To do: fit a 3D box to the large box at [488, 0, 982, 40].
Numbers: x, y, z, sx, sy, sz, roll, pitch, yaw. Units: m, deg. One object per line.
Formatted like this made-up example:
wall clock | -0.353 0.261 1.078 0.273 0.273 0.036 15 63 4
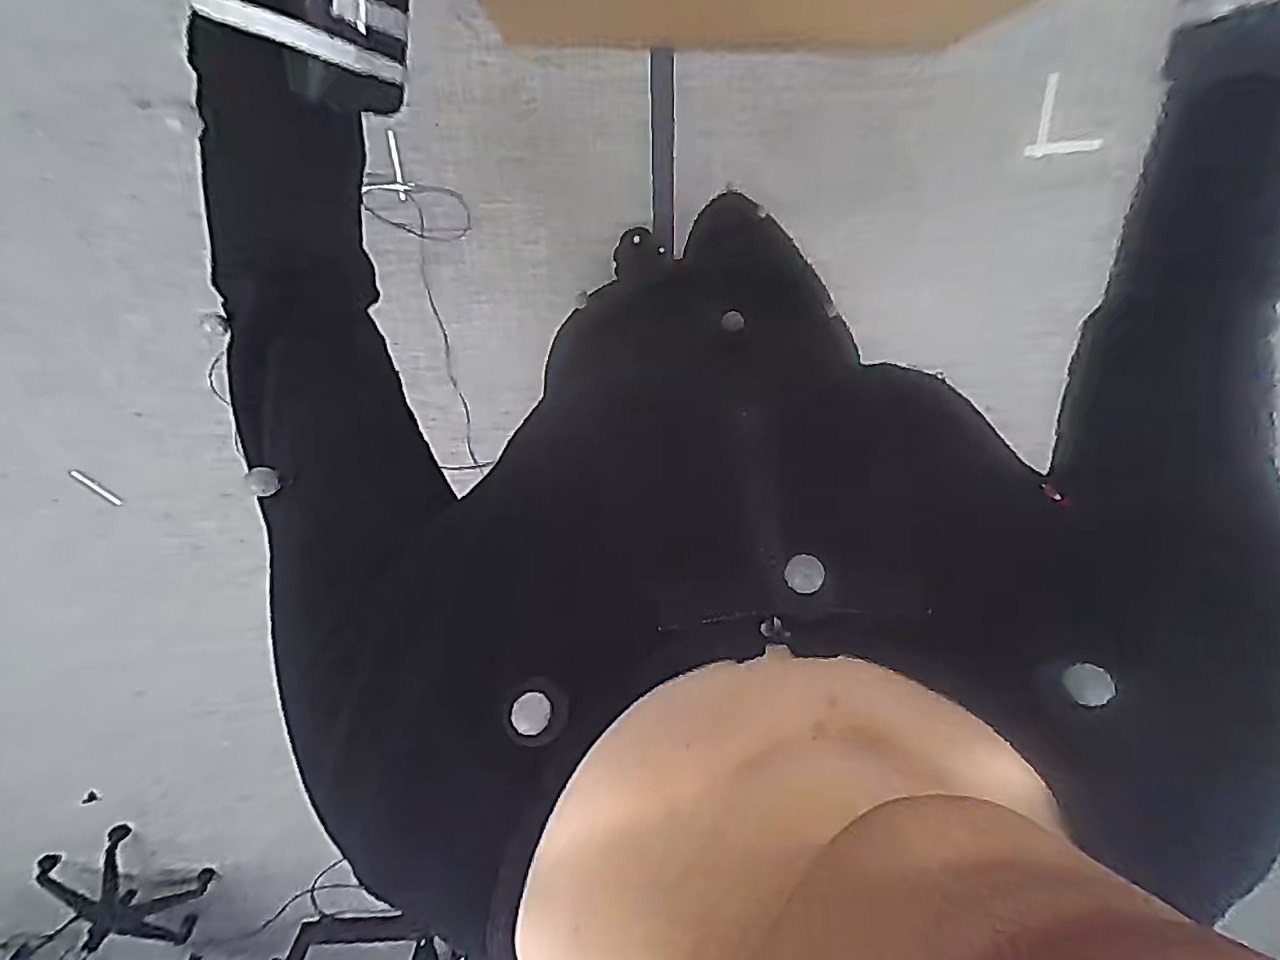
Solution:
large box | 0.077 -0.477 0.293 0.408 0.320 0.320 -1 117 -1
